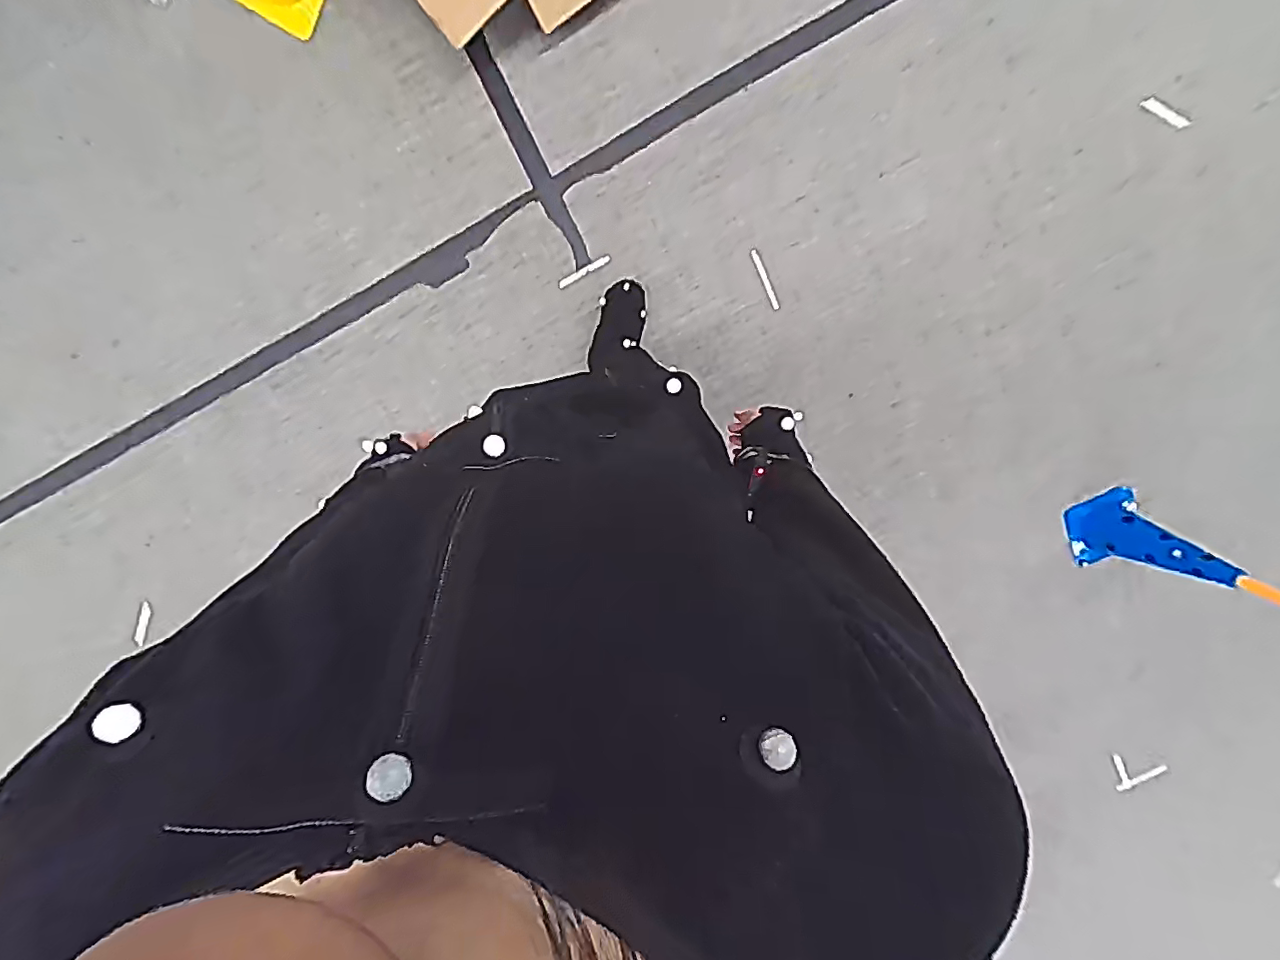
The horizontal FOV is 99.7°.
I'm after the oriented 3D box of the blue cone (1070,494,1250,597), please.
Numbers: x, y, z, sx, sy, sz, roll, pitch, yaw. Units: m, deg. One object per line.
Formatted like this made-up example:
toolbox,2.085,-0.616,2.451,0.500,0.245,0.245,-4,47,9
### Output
blue cone,1.339,0.189,1.390,0.193,0.380,0.192,-23,105,3
